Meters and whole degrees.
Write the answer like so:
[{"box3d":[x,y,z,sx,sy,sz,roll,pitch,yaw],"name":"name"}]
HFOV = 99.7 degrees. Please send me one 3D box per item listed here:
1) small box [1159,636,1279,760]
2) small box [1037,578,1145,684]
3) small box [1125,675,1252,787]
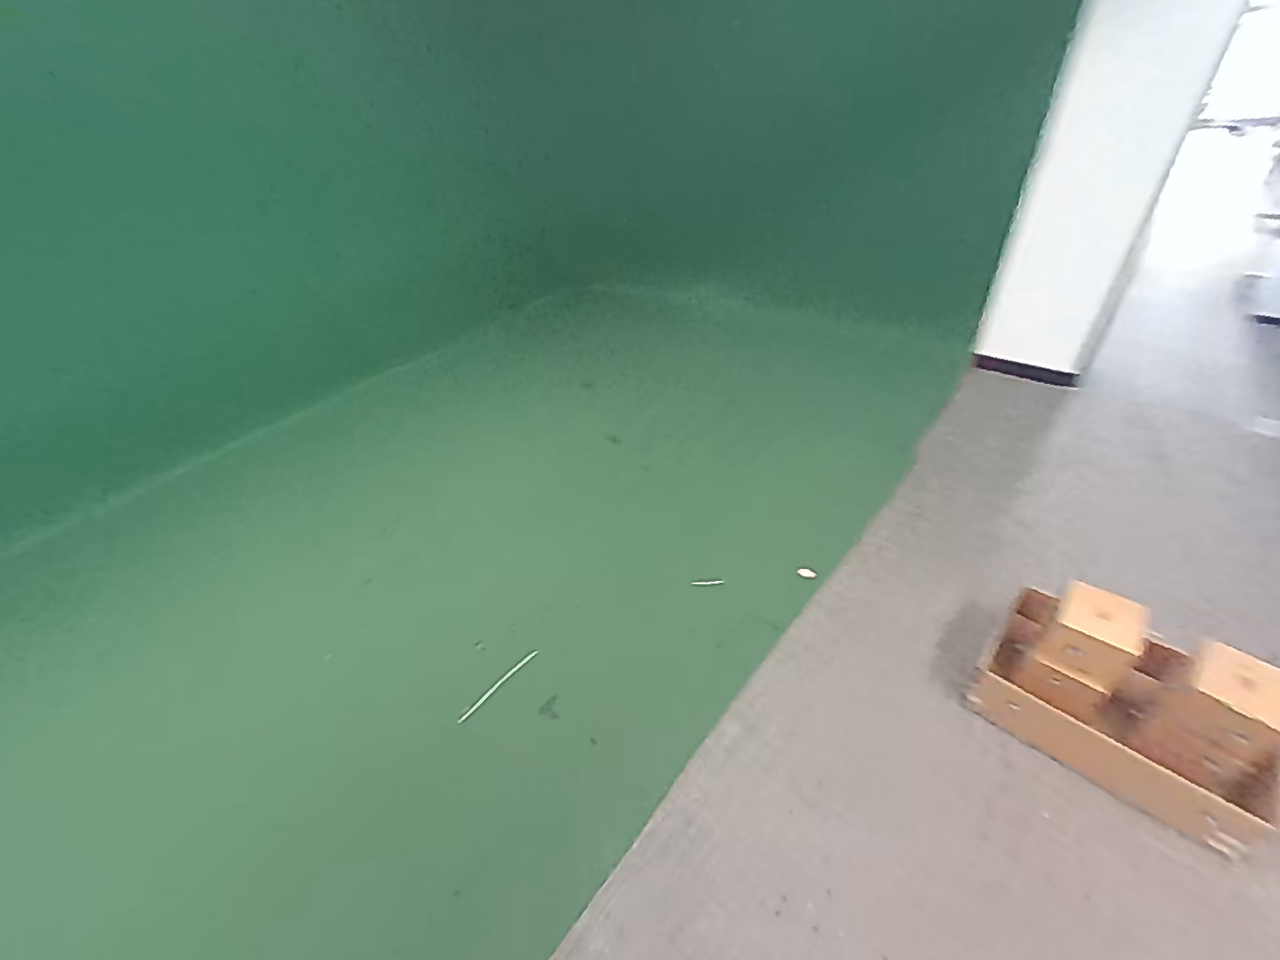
[{"box3d":[1.377,0.514,1.270,0.179,0.176,0.168,-35,48,-29],"name":"small box"},{"box3d":[1.188,0.402,1.433,0.168,0.176,0.179,25,50,31],"name":"small box"},{"box3d":[1.395,0.640,1.371,0.168,0.176,0.179,-36,47,-29],"name":"small box"}]
